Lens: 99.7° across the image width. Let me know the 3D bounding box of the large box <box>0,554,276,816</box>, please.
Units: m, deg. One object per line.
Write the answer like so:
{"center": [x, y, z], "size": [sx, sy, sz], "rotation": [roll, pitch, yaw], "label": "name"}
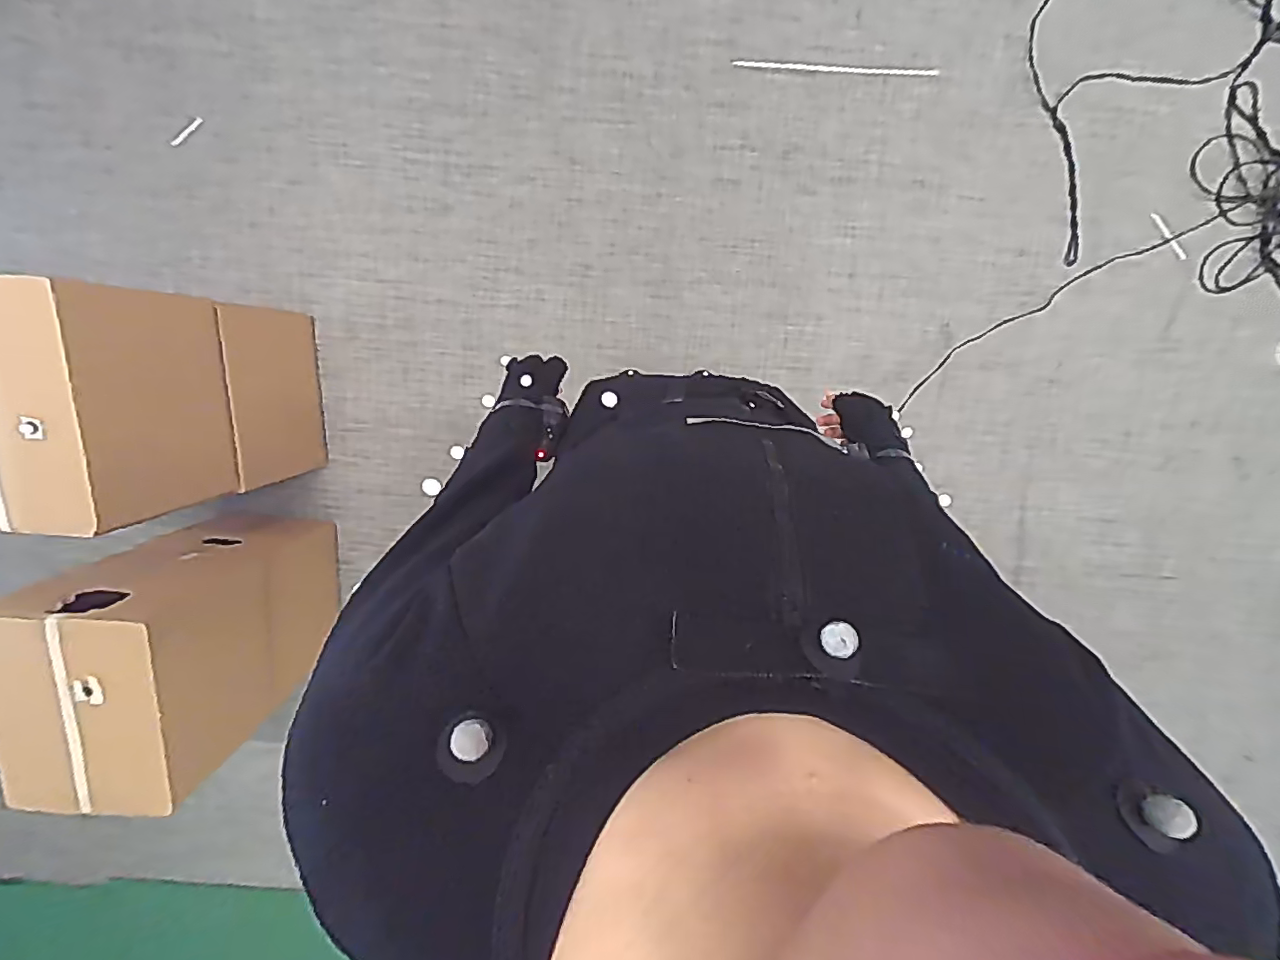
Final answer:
{"center": [-1.014, 0.398, 1.116], "size": [0.320, 0.320, 0.408], "rotation": [4, 101, -1], "label": "large box"}
